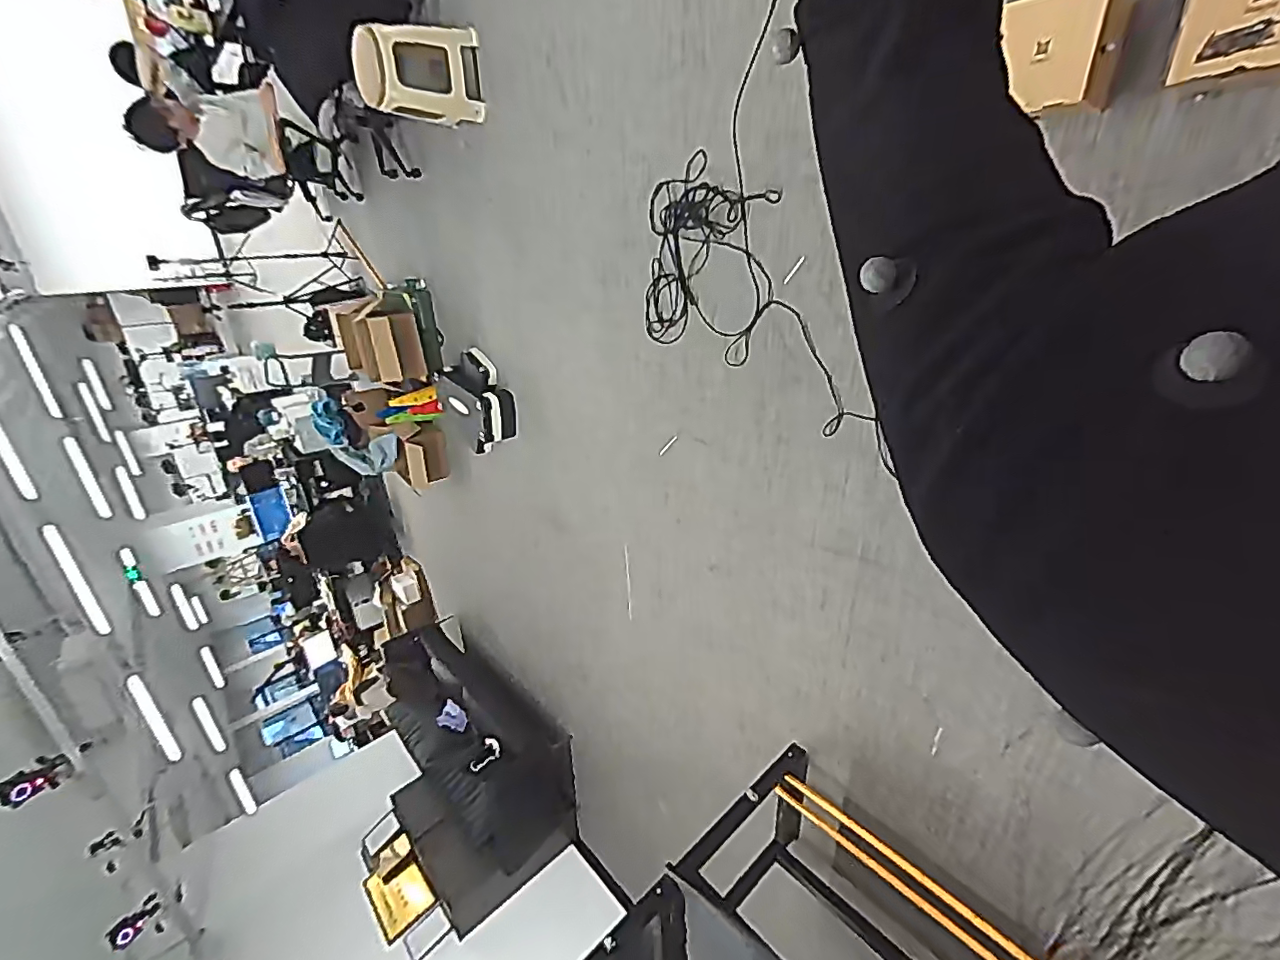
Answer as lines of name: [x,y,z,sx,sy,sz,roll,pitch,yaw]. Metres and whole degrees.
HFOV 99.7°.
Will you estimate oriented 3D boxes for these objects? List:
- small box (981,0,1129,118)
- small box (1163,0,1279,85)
small box: [0.777,-0.801,1.013,0.168,0.176,0.179,24,125,44]
small box: [0.953,-0.728,0.827,0.168,0.176,0.179,23,123,44]
